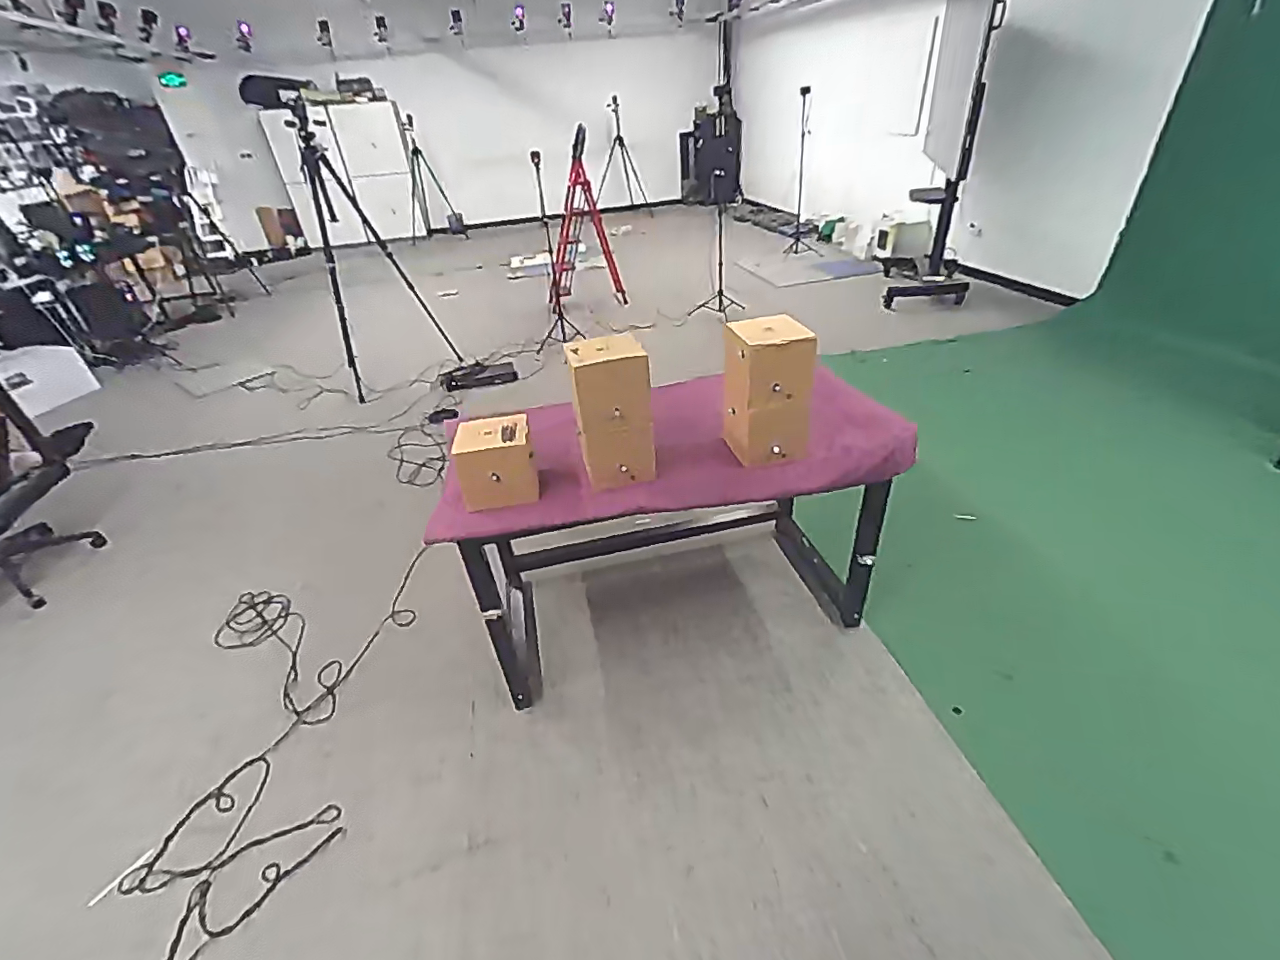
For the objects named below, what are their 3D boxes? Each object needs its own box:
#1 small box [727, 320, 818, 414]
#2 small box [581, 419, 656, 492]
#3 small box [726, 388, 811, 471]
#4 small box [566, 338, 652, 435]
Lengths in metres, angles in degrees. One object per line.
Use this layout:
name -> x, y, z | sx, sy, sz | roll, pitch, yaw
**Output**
small box -> 0.318, -0.282, 1.339 | 0.168, 0.176, 0.179 | -11, 35, -8
small box -> -0.061, -0.092, 1.395 | 0.168, 0.176, 0.179 | -12, 34, -9
small box -> 0.330, -0.145, 1.426 | 0.168, 0.176, 0.179 | -11, 35, -8
small box -> -0.073, -0.227, 1.303 | 0.179, 0.176, 0.168 | -11, 33, -10
